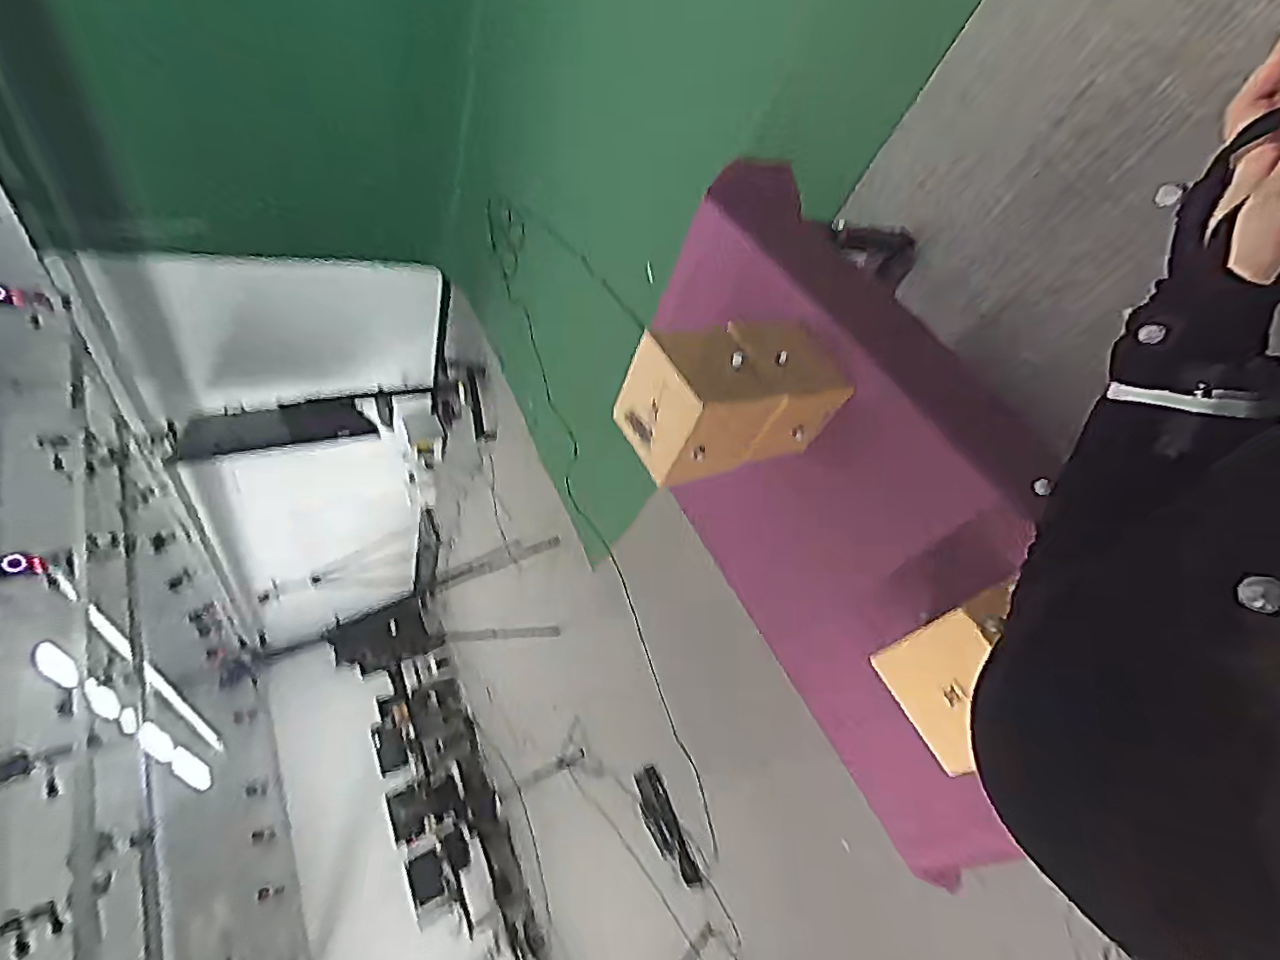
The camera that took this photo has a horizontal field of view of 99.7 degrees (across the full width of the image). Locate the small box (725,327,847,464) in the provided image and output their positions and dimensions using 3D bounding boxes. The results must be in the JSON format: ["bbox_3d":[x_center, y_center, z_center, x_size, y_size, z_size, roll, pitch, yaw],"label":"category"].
[{"bbox_3d":[0.223,-0.155,0.950,0.179,0.176,0.168,60,143,26],"label":"small box"}]

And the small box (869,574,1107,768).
[{"bbox_3d":[0.460,0.251,0.725,0.168,0.176,0.179,60,143,26],"label":"small box"}]

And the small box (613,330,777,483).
[{"bbox_3d":[0.085,-0.121,0.867,0.168,0.176,0.179,58,142,27],"label":"small box"}]
